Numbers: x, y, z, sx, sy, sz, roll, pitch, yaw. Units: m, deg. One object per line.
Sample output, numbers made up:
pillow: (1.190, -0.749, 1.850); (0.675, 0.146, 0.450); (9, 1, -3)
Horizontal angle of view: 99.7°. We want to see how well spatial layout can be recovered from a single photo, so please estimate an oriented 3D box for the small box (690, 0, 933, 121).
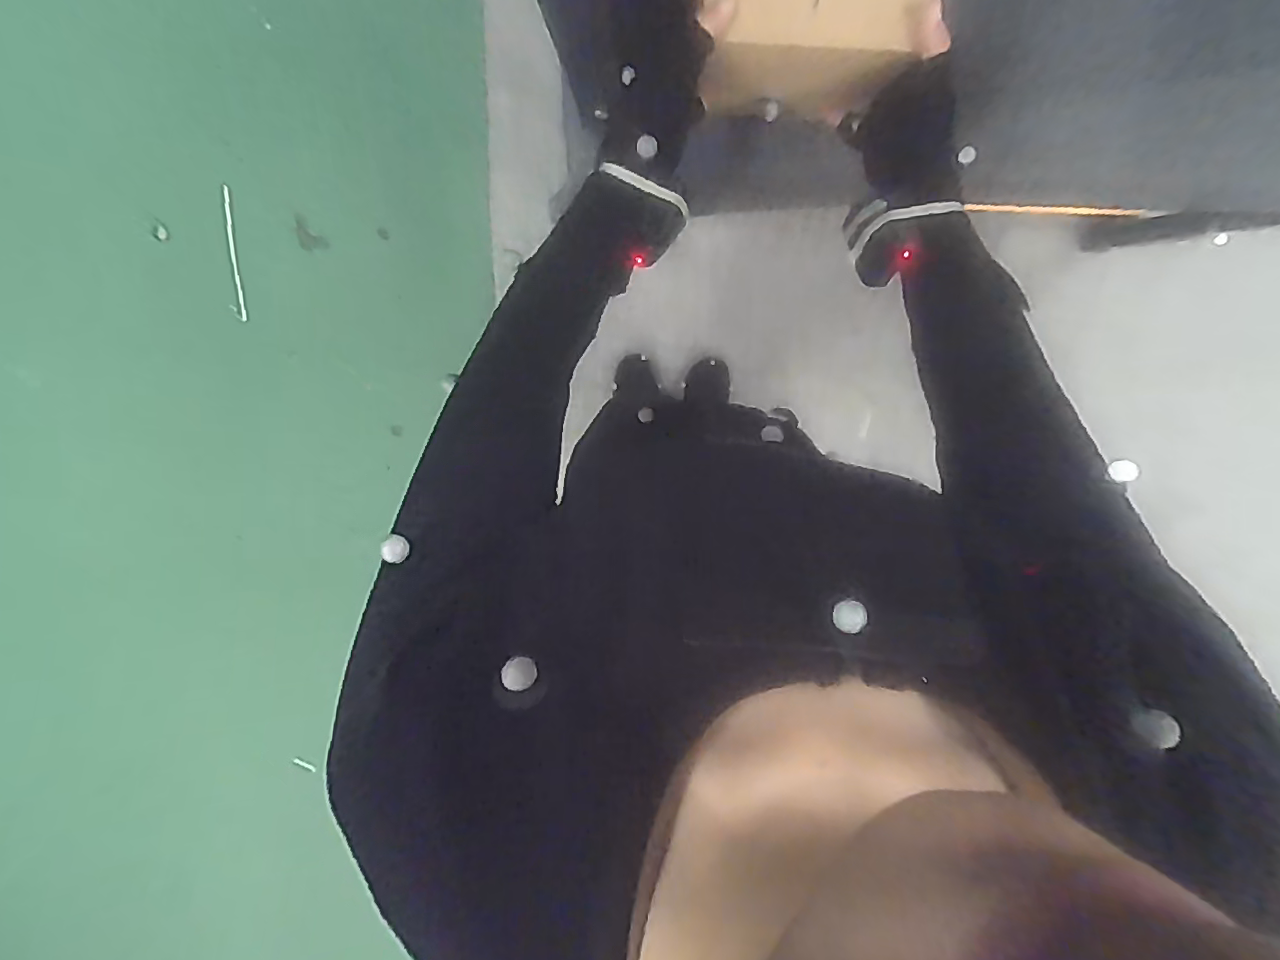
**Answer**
small box: (0.132, -0.425, 0.442); (0.168, 0.176, 0.179); (3, 109, 0)
